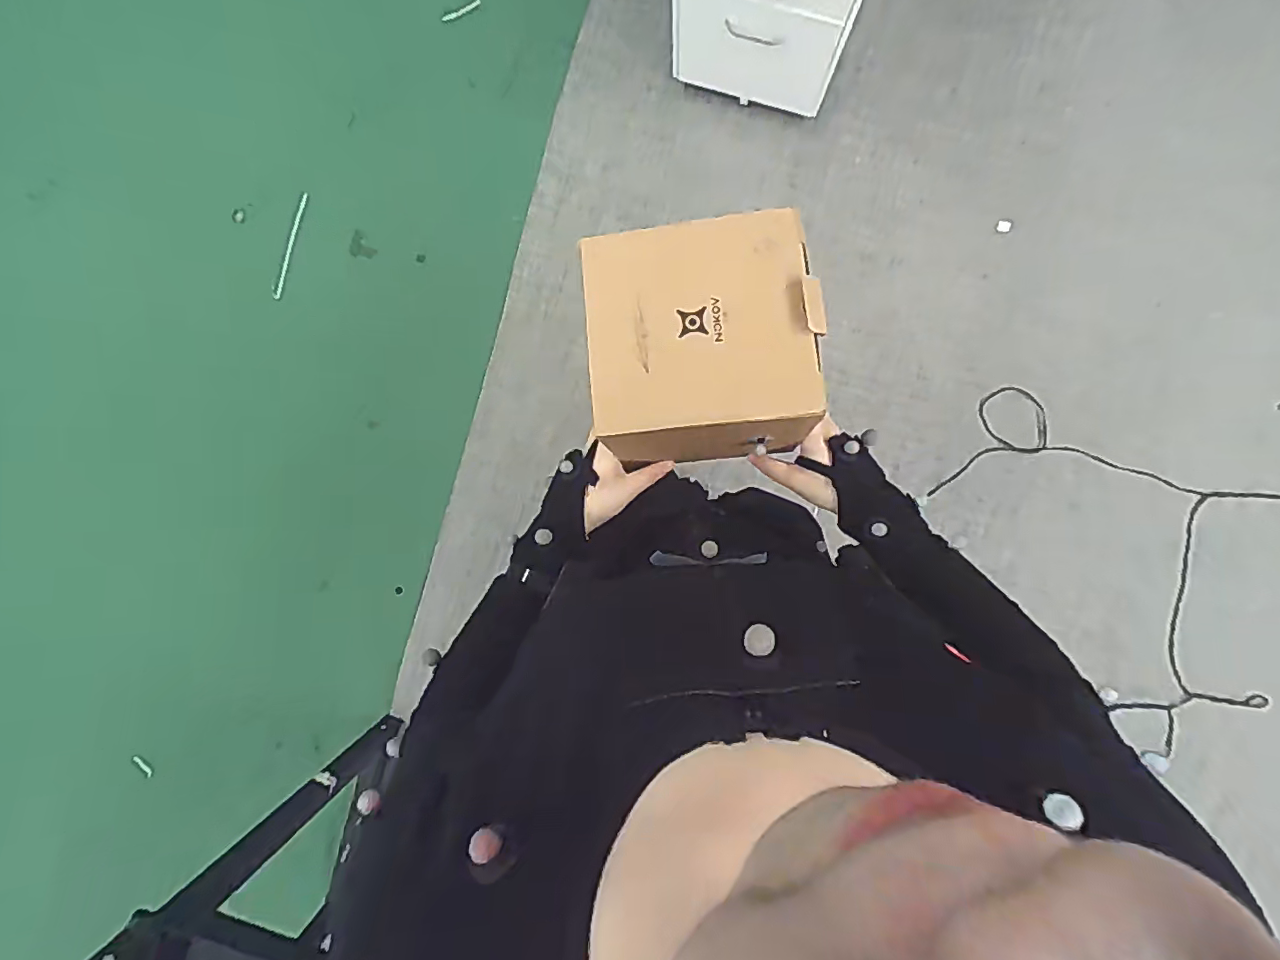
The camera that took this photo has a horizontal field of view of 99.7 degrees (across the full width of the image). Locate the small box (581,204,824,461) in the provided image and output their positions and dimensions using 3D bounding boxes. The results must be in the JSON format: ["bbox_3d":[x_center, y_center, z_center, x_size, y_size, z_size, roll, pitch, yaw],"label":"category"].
[{"bbox_3d":[0.053,-0.115,0.492,0.179,0.176,0.168,-5,82,7],"label":"small box"}]
